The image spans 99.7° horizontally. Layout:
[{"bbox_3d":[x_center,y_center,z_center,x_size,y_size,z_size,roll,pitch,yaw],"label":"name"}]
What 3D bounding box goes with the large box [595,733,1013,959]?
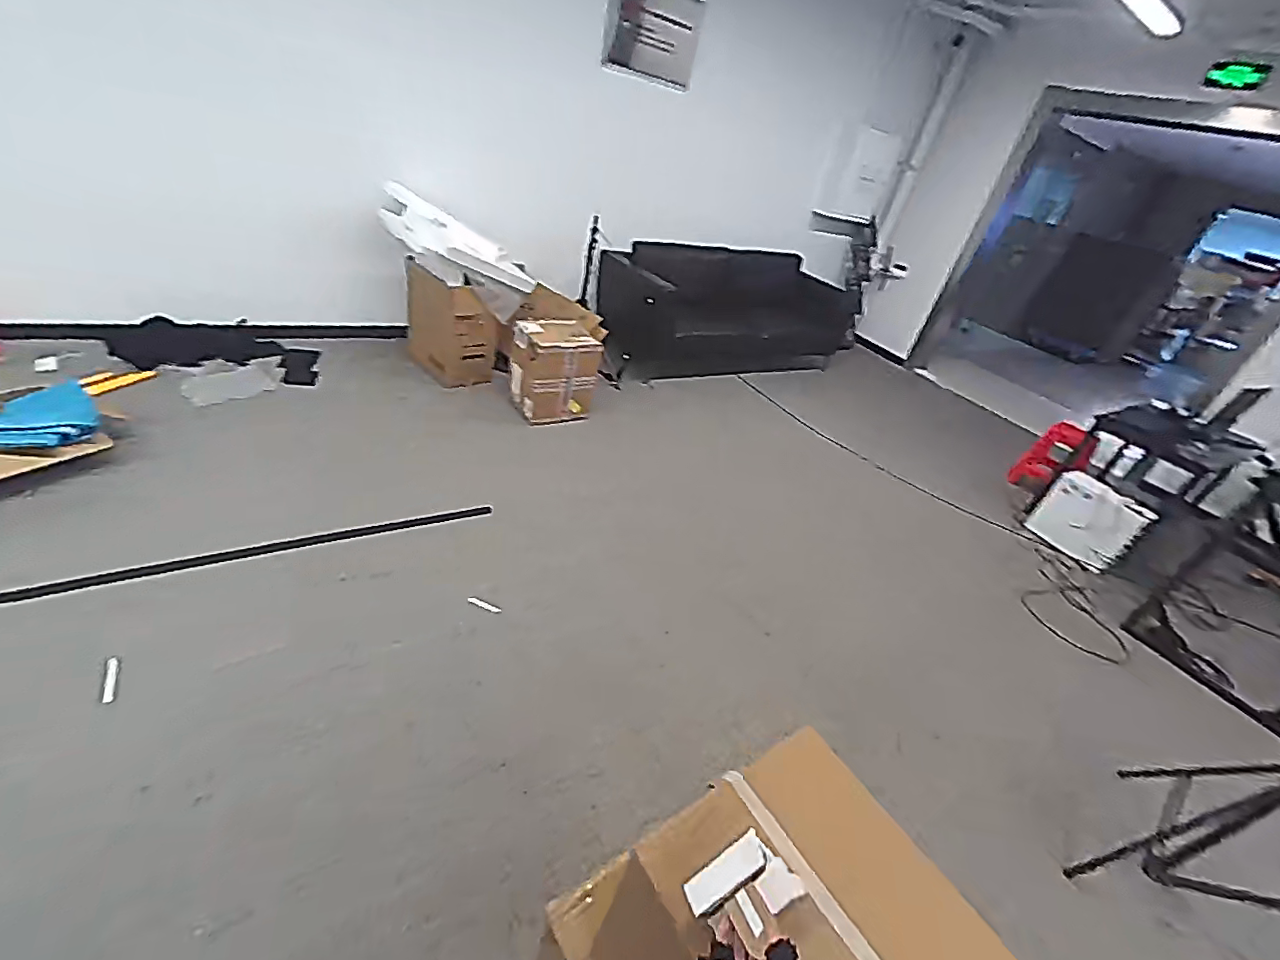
[{"bbox_3d":[0.197,0.616,0.653,0.320,0.320,0.408,-12,42,-35],"label":"large box"}]
